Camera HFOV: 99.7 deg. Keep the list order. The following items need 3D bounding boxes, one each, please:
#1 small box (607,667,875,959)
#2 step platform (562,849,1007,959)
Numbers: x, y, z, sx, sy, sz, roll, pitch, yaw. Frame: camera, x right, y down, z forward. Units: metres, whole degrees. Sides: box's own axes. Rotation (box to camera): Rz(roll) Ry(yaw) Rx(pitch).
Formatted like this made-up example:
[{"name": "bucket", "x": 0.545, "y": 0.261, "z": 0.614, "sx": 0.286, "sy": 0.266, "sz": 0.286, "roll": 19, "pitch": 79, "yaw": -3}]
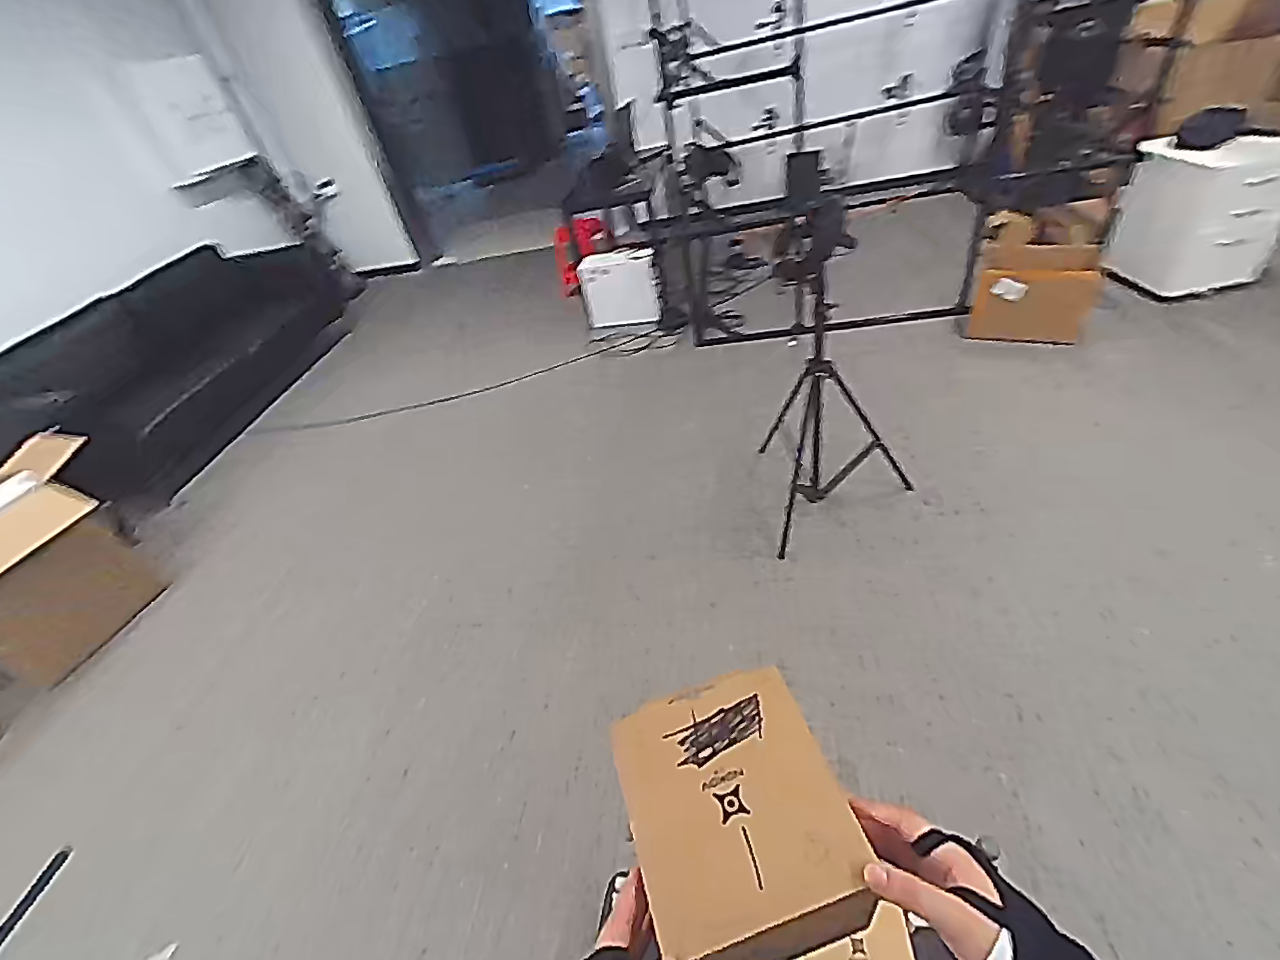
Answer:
[{"name": "small box", "x": 0.082, "y": 0.310, "z": 0.489, "sx": 0.168, "sy": 0.176, "sz": 0.179, "roll": -19, "pitch": 41, "yaw": -5}, {"name": "step platform", "x": 0.218, "y": 0.813, "z": 0.889, "sx": 0.684, "sy": 0.204, "sz": 0.286, "roll": -4, "pitch": 40, "yaw": 11}]
